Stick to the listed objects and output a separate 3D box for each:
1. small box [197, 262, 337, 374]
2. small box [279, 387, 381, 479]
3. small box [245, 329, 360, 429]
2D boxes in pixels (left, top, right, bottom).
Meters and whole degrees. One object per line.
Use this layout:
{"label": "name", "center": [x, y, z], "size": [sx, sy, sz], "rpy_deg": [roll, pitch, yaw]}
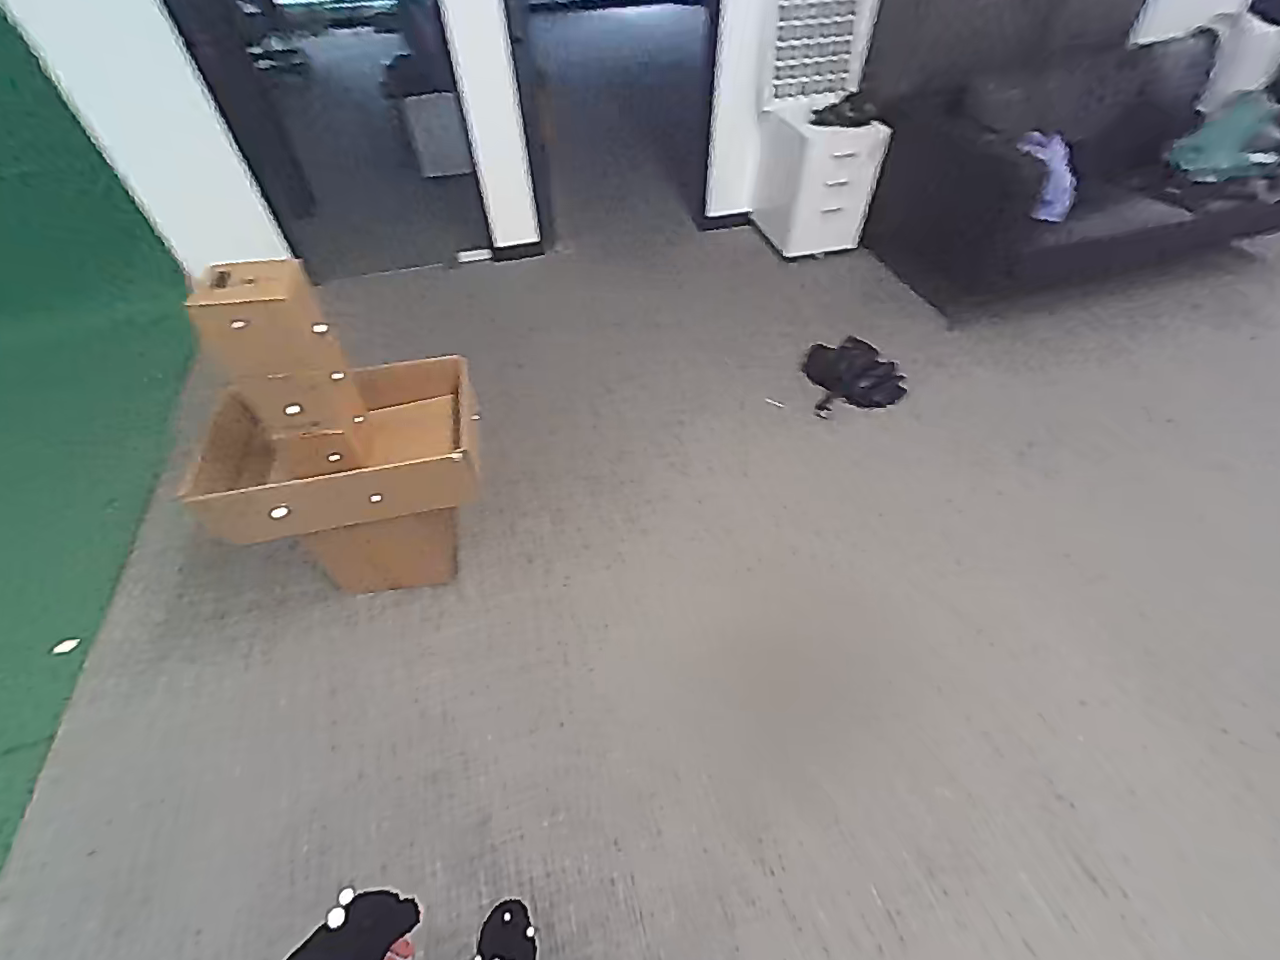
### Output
{"label": "small box", "center": [-0.775, -0.340, 1.147], "size": [0.179, 0.176, 0.168], "rpy_deg": [-8, 49, -11]}
{"label": "small box", "center": [-0.783, -0.116, 1.387], "size": [0.168, 0.176, 0.179], "rpy_deg": [-6, 47, -9]}
{"label": "small box", "center": [-0.779, -0.232, 1.272], "size": [0.168, 0.176, 0.179], "rpy_deg": [-7, 50, -9]}
